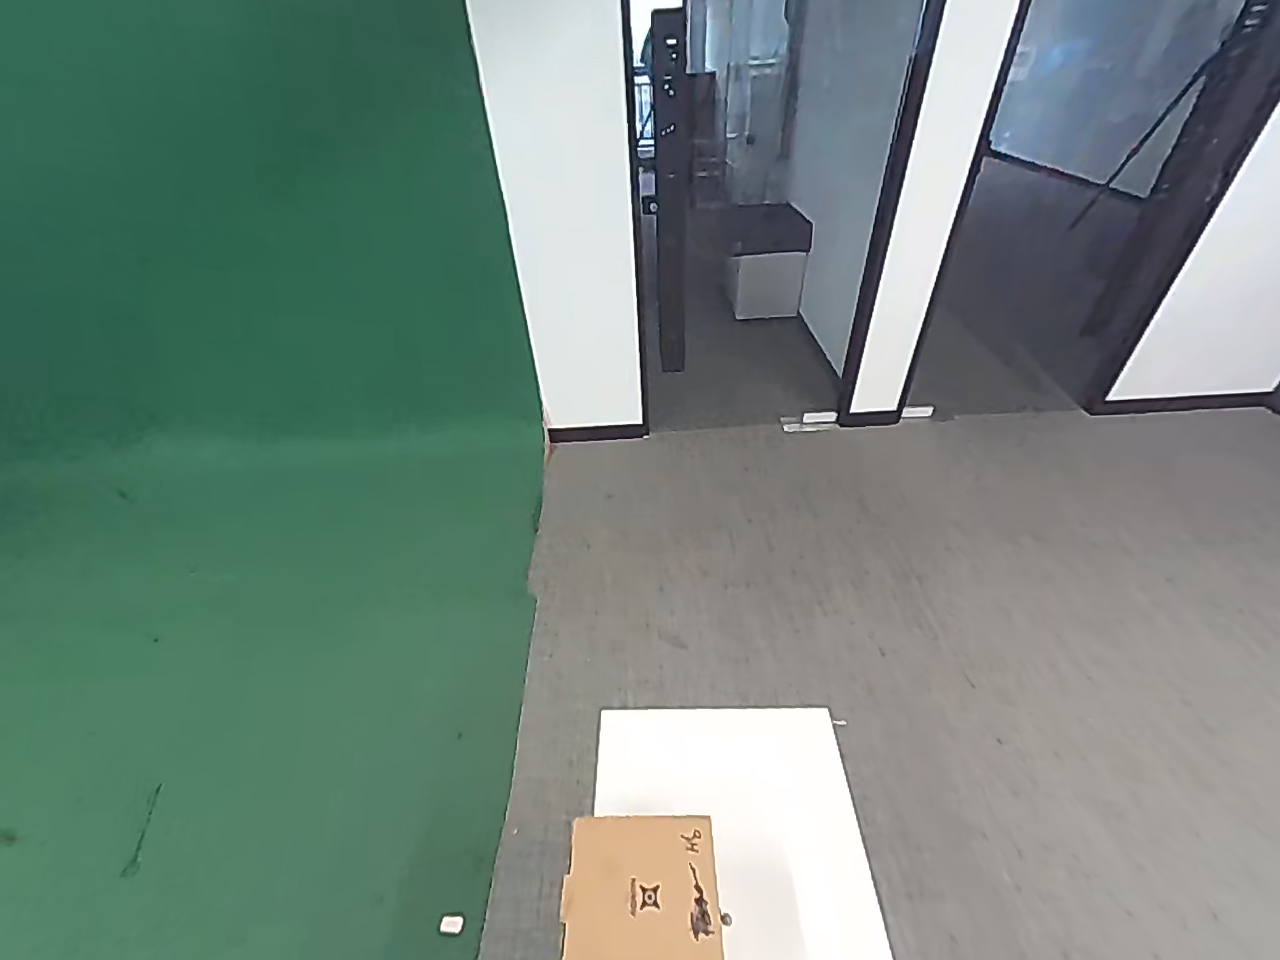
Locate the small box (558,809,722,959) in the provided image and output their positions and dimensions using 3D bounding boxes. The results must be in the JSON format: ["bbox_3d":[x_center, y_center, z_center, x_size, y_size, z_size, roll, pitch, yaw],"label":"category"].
[{"bbox_3d":[0.003,0.530,0.669,0.179,0.176,0.168,-1,39,1],"label":"small box"}]
